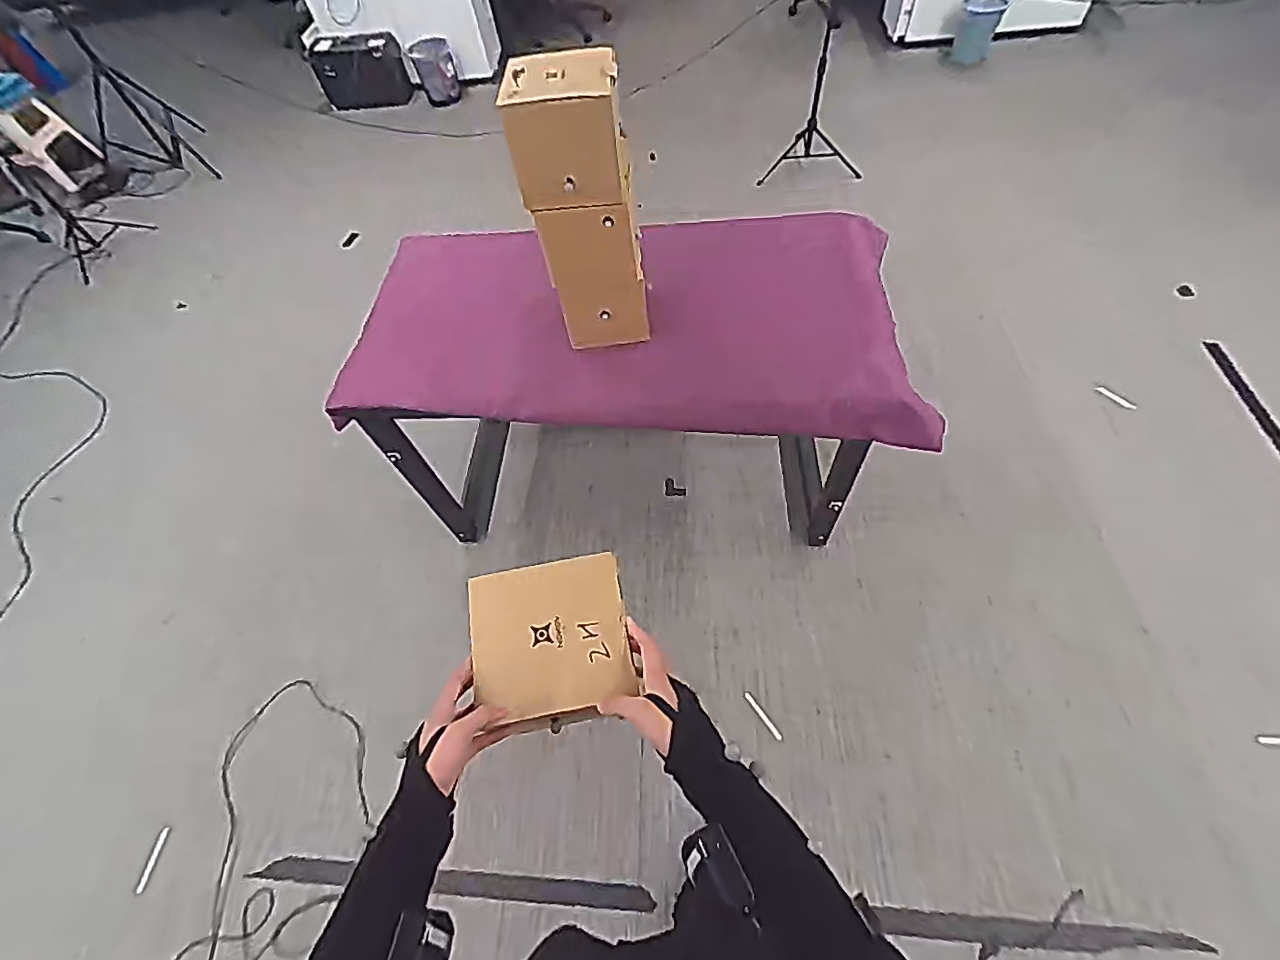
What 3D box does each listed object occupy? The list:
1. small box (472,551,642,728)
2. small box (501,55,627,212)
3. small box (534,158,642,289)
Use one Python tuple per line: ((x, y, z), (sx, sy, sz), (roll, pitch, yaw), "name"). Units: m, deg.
((-0.097, 0.205, 0.673), (0.179, 0.176, 0.168), (-9, 64, -4), "small box")
((-0.114, -0.575, 0.907), (0.179, 0.176, 0.168), (-2, 57, 4), "small box")
((-0.092, -0.490, 1.046), (0.179, 0.176, 0.168), (-2, 58, 4), "small box")
